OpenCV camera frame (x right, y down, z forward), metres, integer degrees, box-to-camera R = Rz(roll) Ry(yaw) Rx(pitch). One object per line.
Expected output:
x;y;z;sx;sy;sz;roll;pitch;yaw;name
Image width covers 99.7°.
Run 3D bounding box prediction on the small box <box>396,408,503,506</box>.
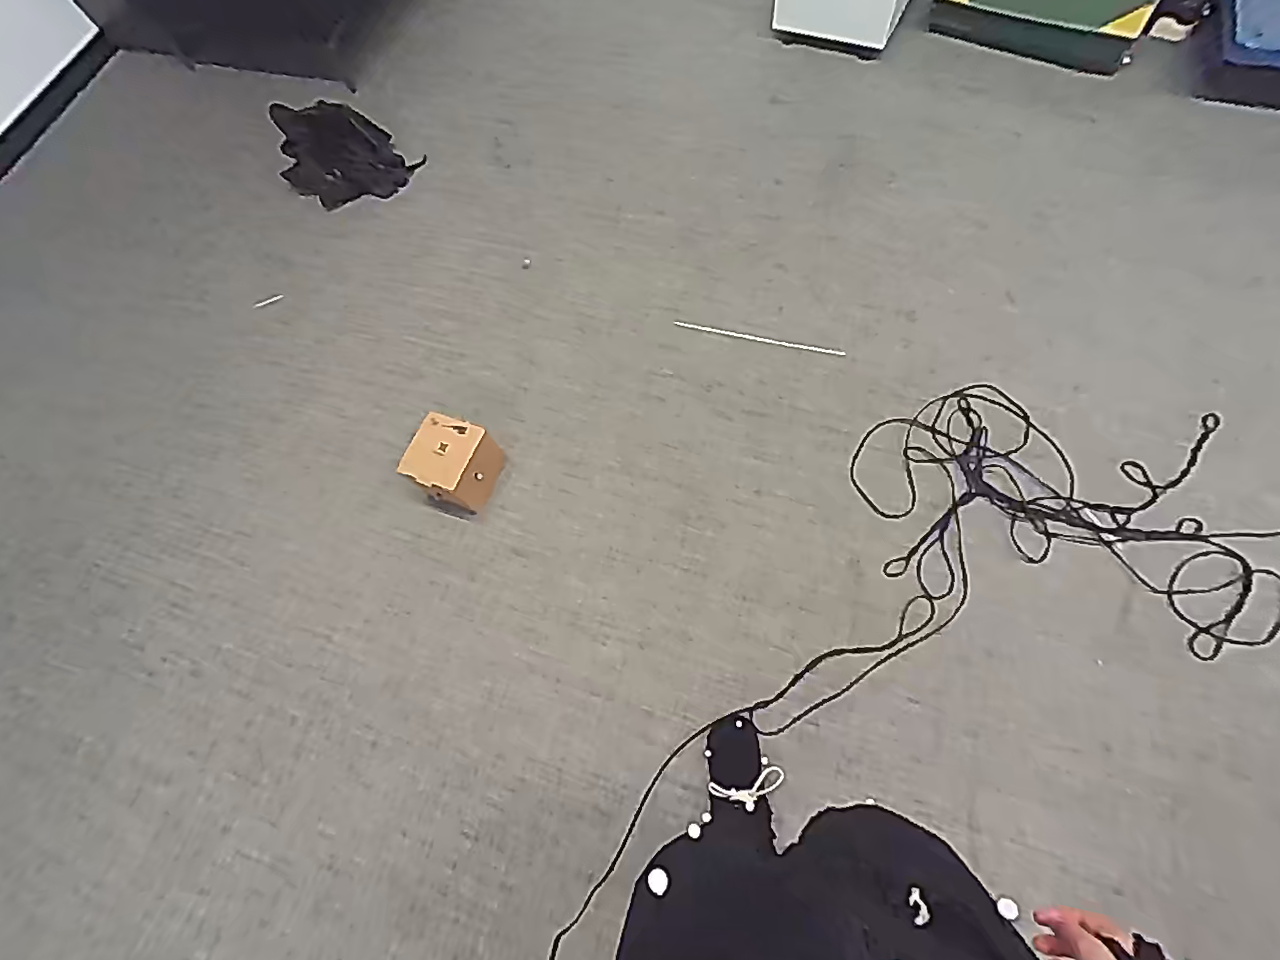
-0.473;-0.052;1.377;0.168;0.176;0.179;18;73;12;small box
